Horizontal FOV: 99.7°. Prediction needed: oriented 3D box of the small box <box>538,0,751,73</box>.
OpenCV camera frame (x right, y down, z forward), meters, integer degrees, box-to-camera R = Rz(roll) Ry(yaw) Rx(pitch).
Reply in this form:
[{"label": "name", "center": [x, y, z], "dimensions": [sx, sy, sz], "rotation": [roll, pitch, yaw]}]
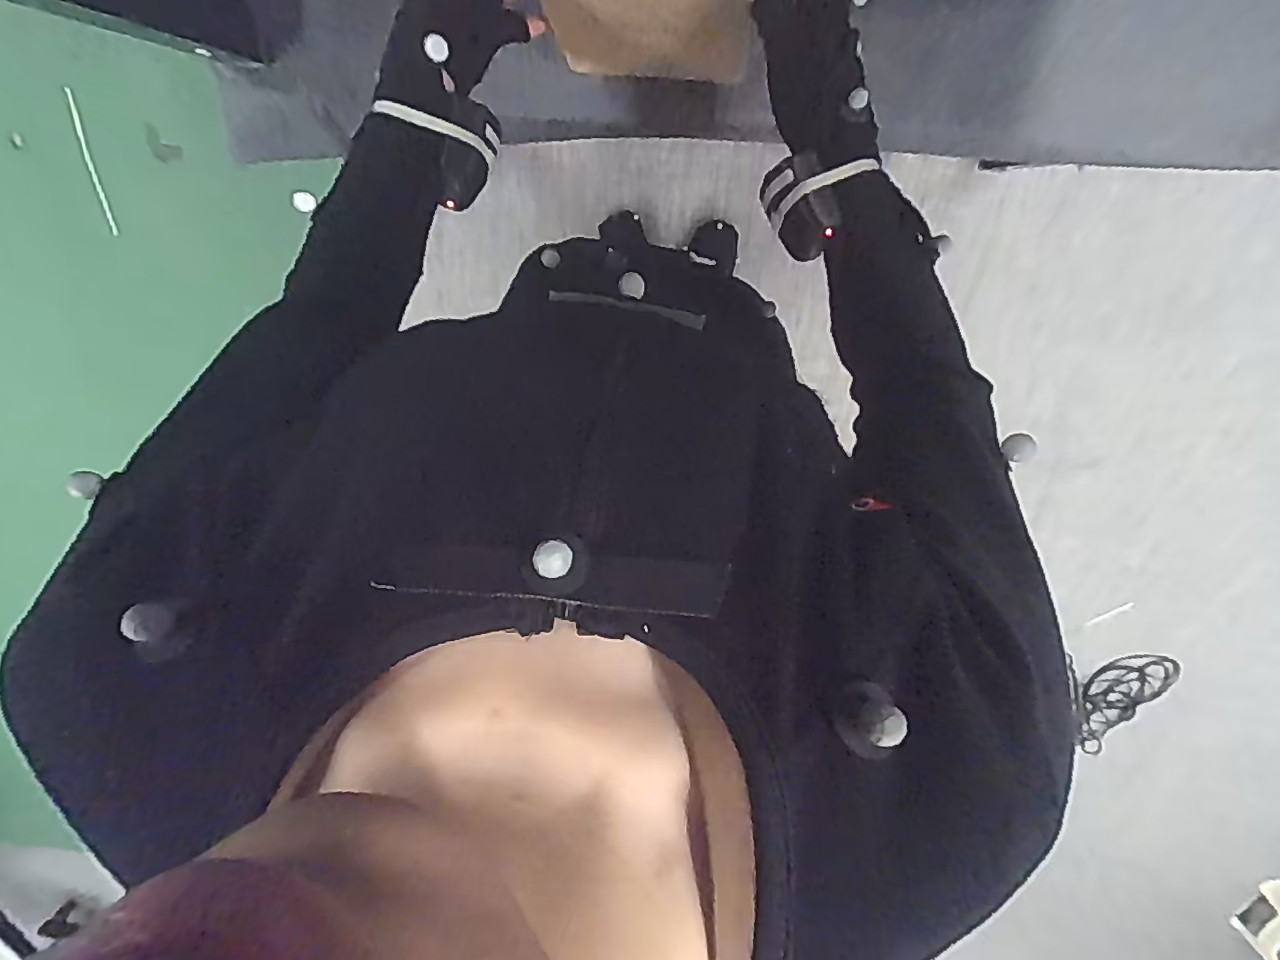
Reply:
[{"label": "small box", "center": [0.011, -0.445, 0.421], "dimensions": [0.168, 0.179, 0.176], "rotation": [6, 107, 3]}]
